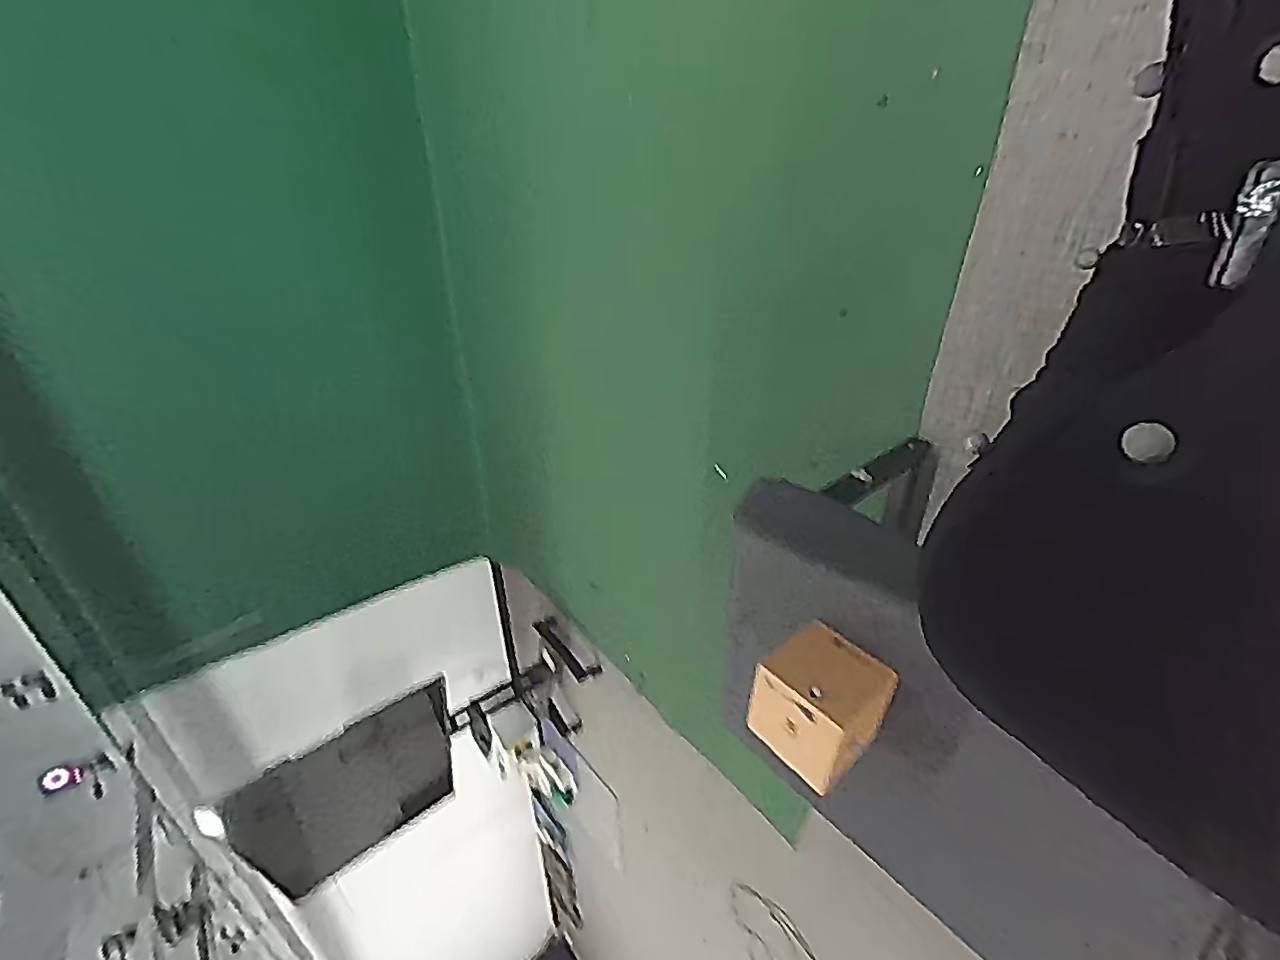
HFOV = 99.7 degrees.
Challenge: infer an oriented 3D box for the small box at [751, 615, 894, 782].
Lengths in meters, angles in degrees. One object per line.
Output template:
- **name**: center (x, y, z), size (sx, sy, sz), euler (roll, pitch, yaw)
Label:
- **small box**: center (0.321, 0.379, 0.960), size (0.168, 0.176, 0.179), euler (31, 133, 40)
